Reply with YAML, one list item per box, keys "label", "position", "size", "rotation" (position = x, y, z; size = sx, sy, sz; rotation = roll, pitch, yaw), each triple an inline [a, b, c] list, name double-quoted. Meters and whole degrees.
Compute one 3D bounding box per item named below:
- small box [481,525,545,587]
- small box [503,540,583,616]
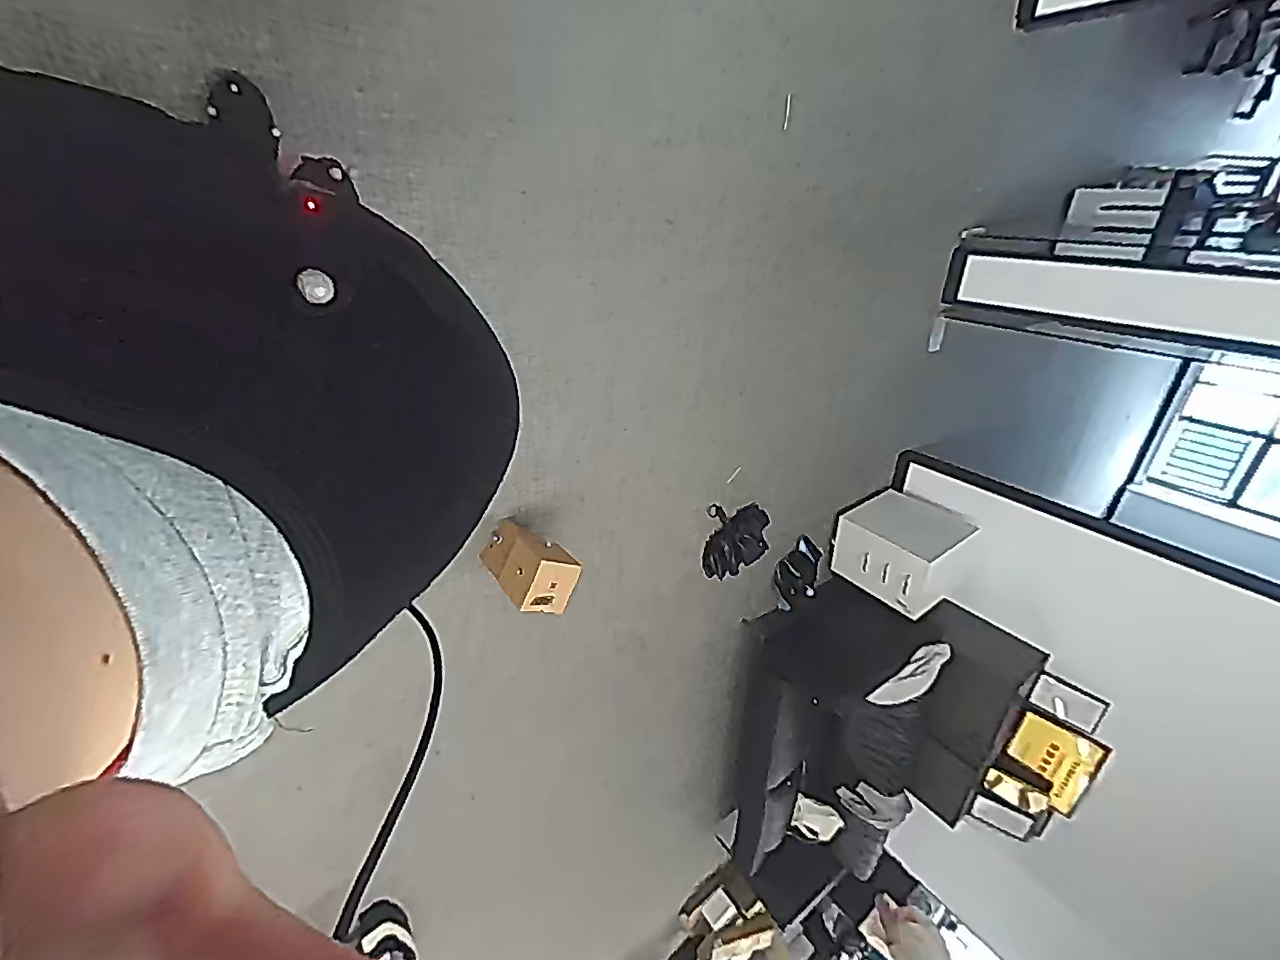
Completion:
- label: "small box"
  position: [-0.411, 0.277, 1.865]
  size: [0.179, 0.176, 0.168]
  rotation: [35, 87, -43]
- label: "small box"
  position: [-0.318, 0.314, 1.731]
  size: [0.168, 0.176, 0.179]
  rotation: [18, 98, -44]
